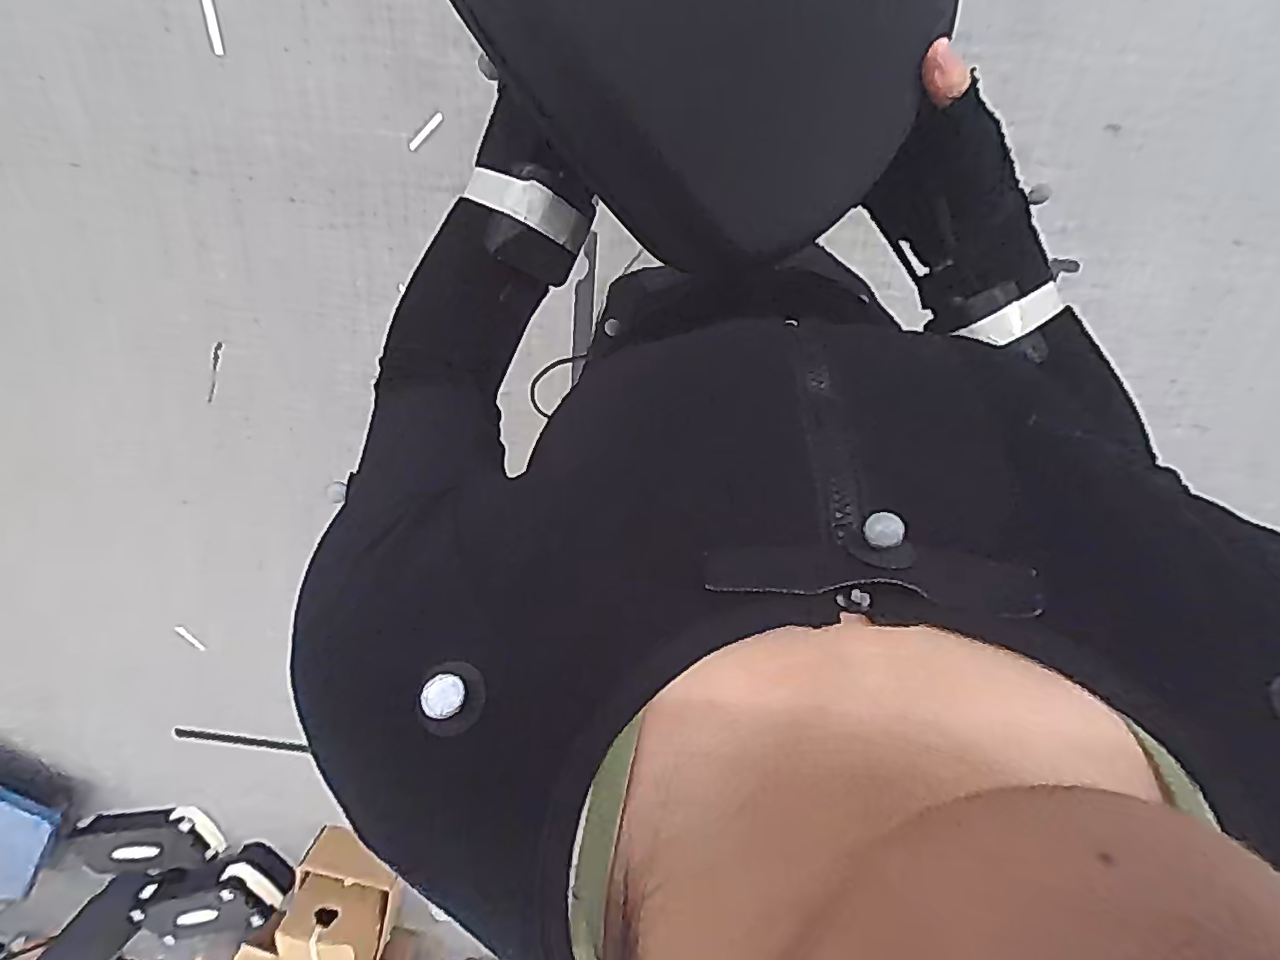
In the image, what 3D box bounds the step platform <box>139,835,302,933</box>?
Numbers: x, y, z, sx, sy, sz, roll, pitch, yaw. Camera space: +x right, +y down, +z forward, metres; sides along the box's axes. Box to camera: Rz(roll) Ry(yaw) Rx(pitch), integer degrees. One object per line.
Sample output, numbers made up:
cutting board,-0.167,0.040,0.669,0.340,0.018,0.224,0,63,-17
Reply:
step platform,-1.956,1.889,2.519,0.684,0.204,0.286,-22,111,13
